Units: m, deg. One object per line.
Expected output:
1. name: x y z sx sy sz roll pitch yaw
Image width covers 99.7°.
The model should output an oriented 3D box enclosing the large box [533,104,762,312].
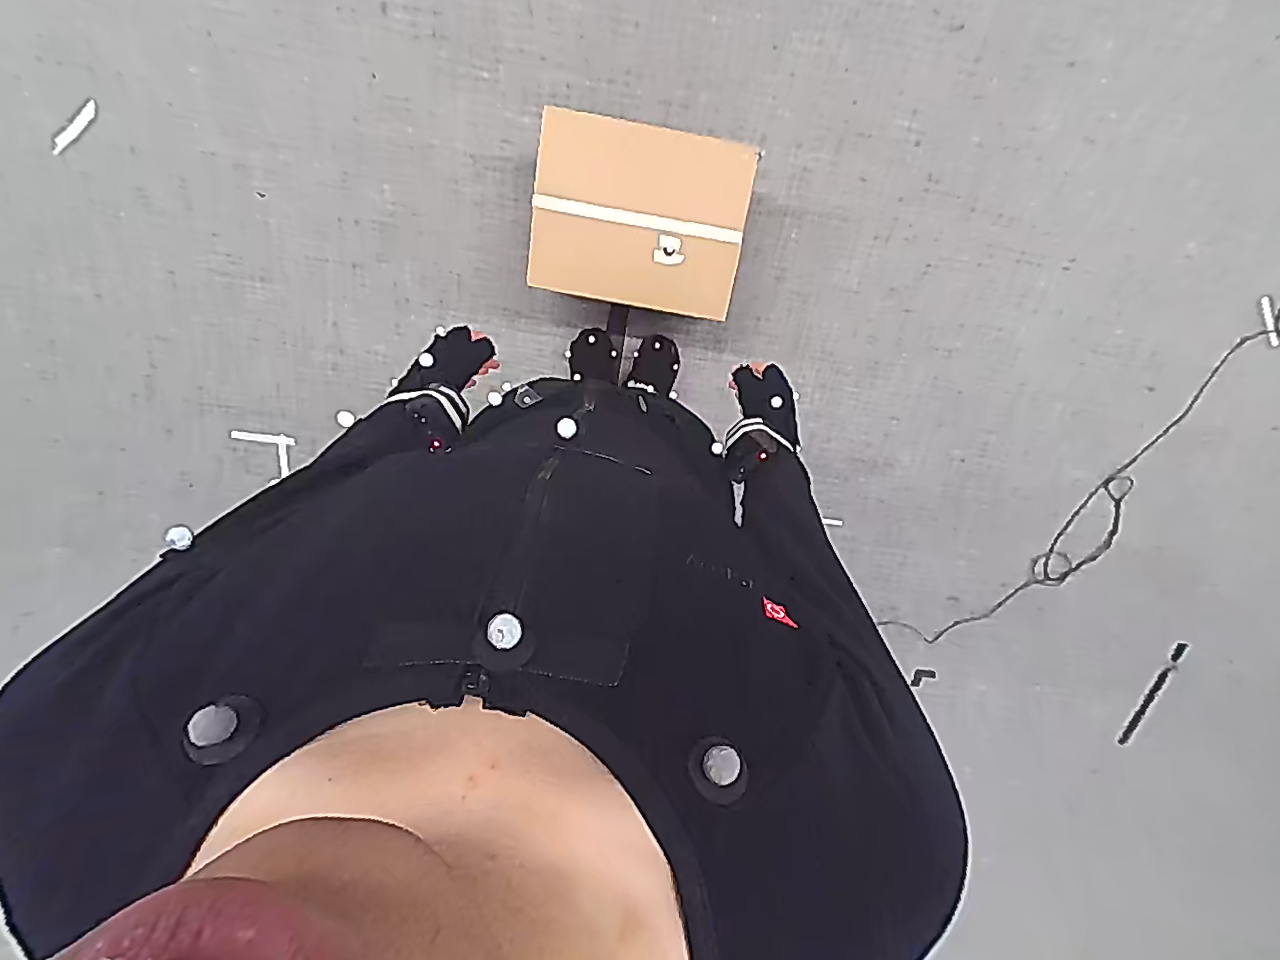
1. large box: 0.003 -0.554 1.166 0.408 0.320 0.320 9 110 -3
